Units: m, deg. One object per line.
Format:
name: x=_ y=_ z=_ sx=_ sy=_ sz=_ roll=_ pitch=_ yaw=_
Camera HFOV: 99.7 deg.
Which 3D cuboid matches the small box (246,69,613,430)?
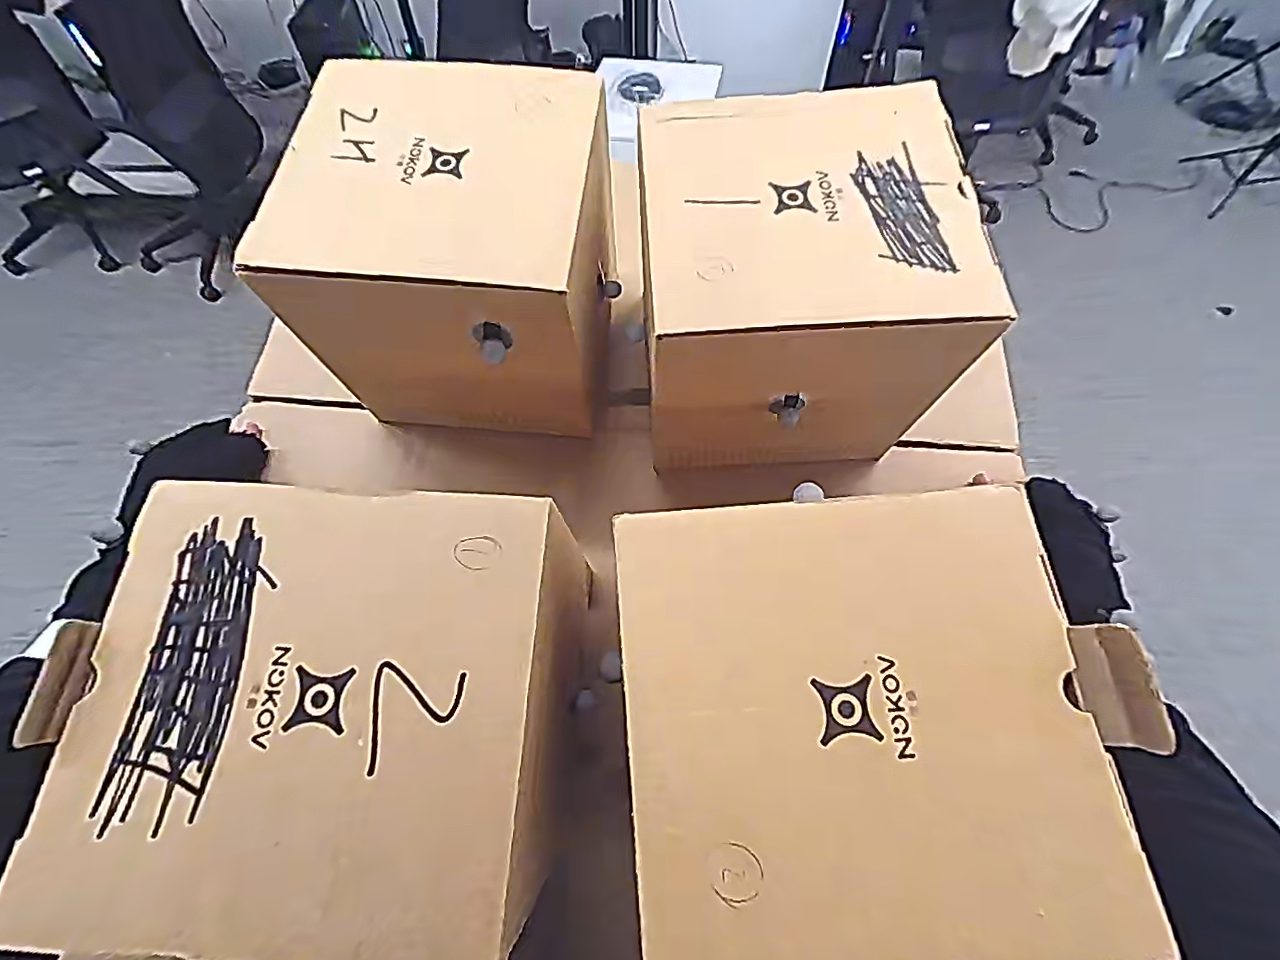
small box: x=-0.116 y=-0.148 z=0.388 sx=0.179 sy=0.176 sz=0.168 roll=5 pitch=68 yaw=3
